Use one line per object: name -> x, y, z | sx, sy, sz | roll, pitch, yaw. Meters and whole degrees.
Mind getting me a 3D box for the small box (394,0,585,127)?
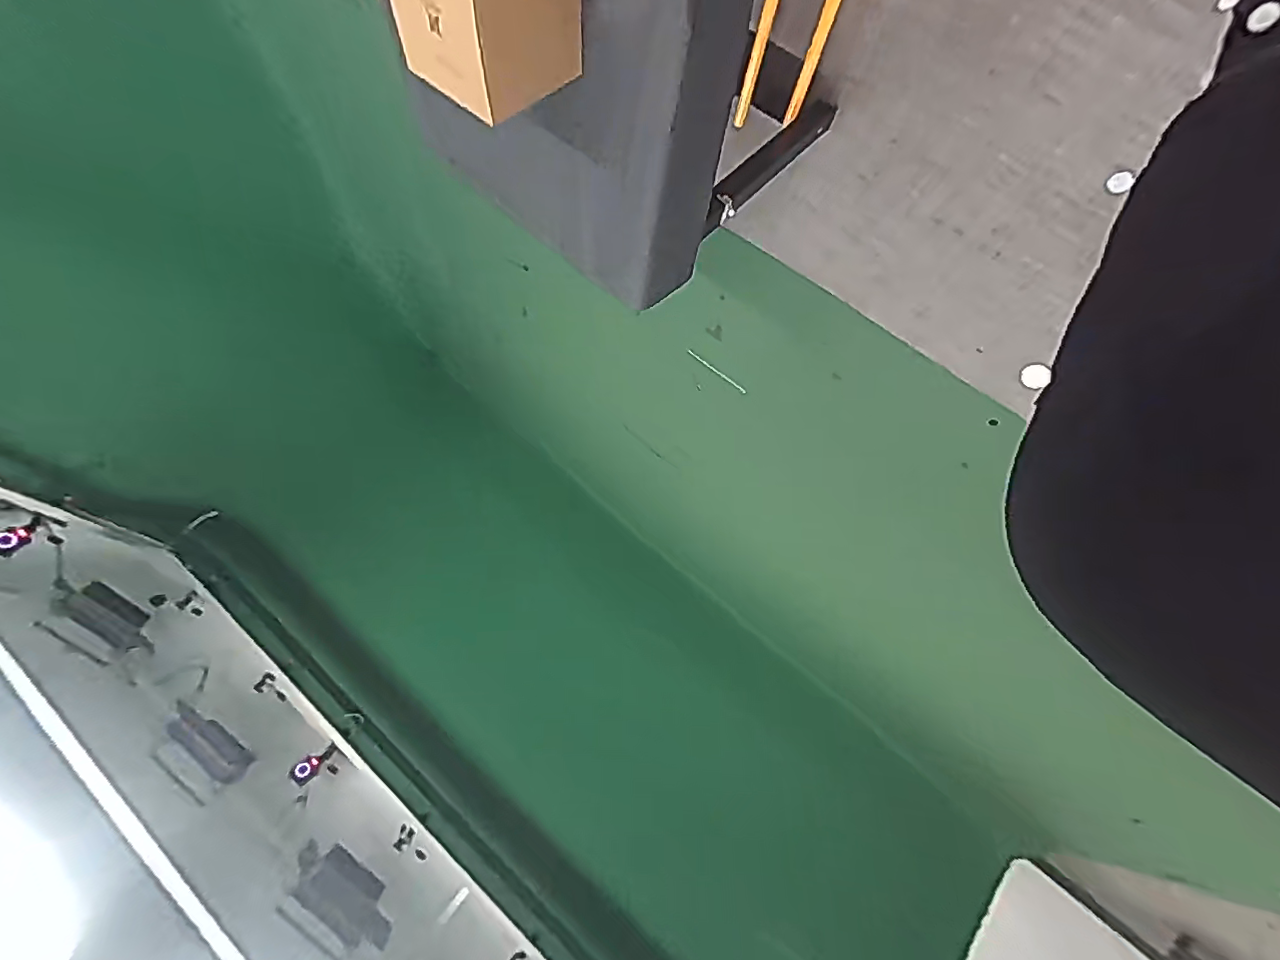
small box -> -0.179, -0.588, 0.655 | 0.168, 0.176, 0.179 | 40, 159, 12
